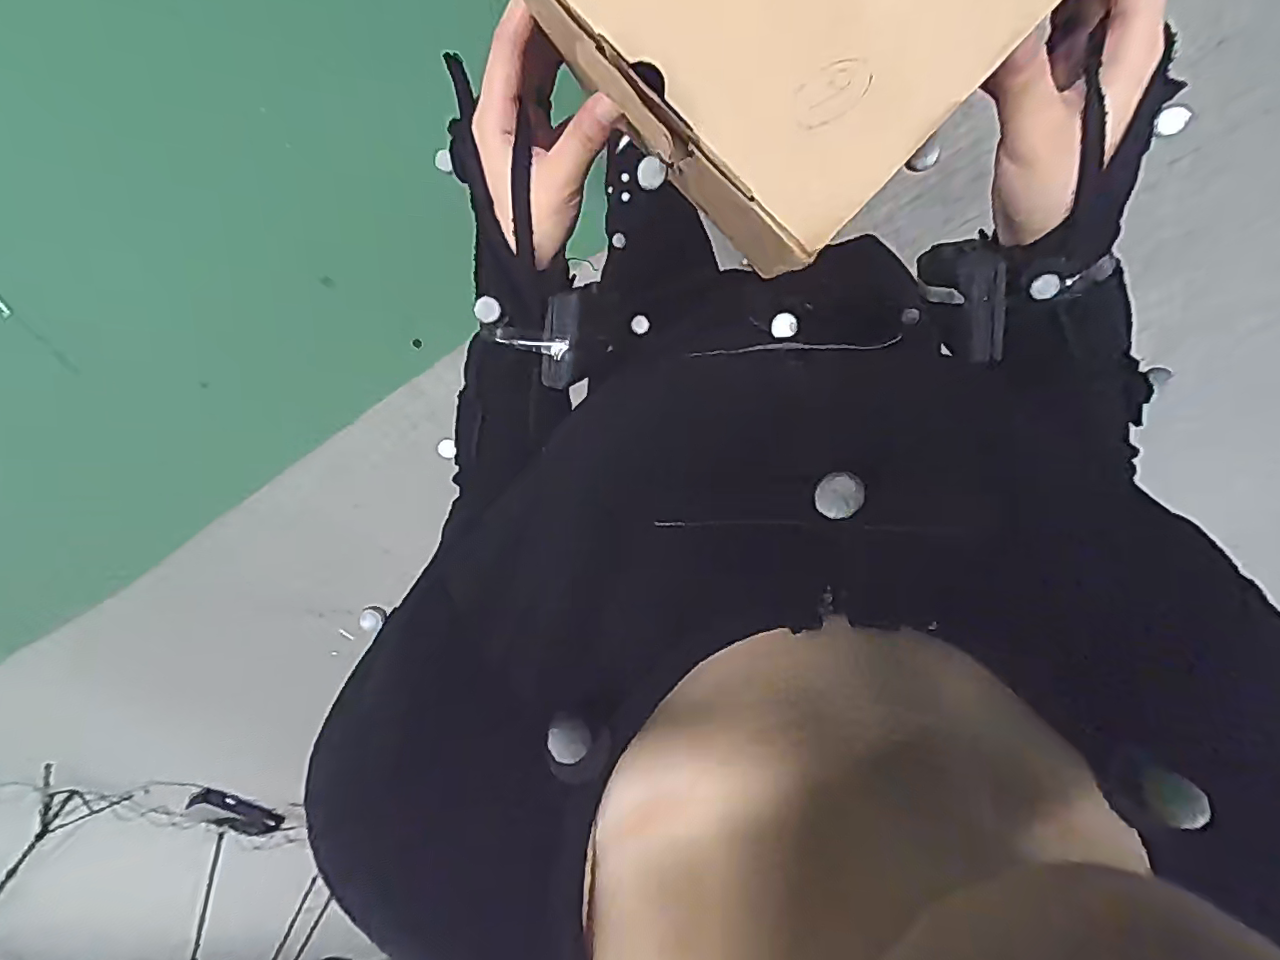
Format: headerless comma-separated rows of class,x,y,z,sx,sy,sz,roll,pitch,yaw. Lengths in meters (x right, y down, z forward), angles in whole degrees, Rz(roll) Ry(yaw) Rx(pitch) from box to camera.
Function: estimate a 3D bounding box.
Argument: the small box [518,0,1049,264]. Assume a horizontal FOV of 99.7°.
small box,0.069,-0.217,0.238,0.168,0.176,0.179,43,110,-7
